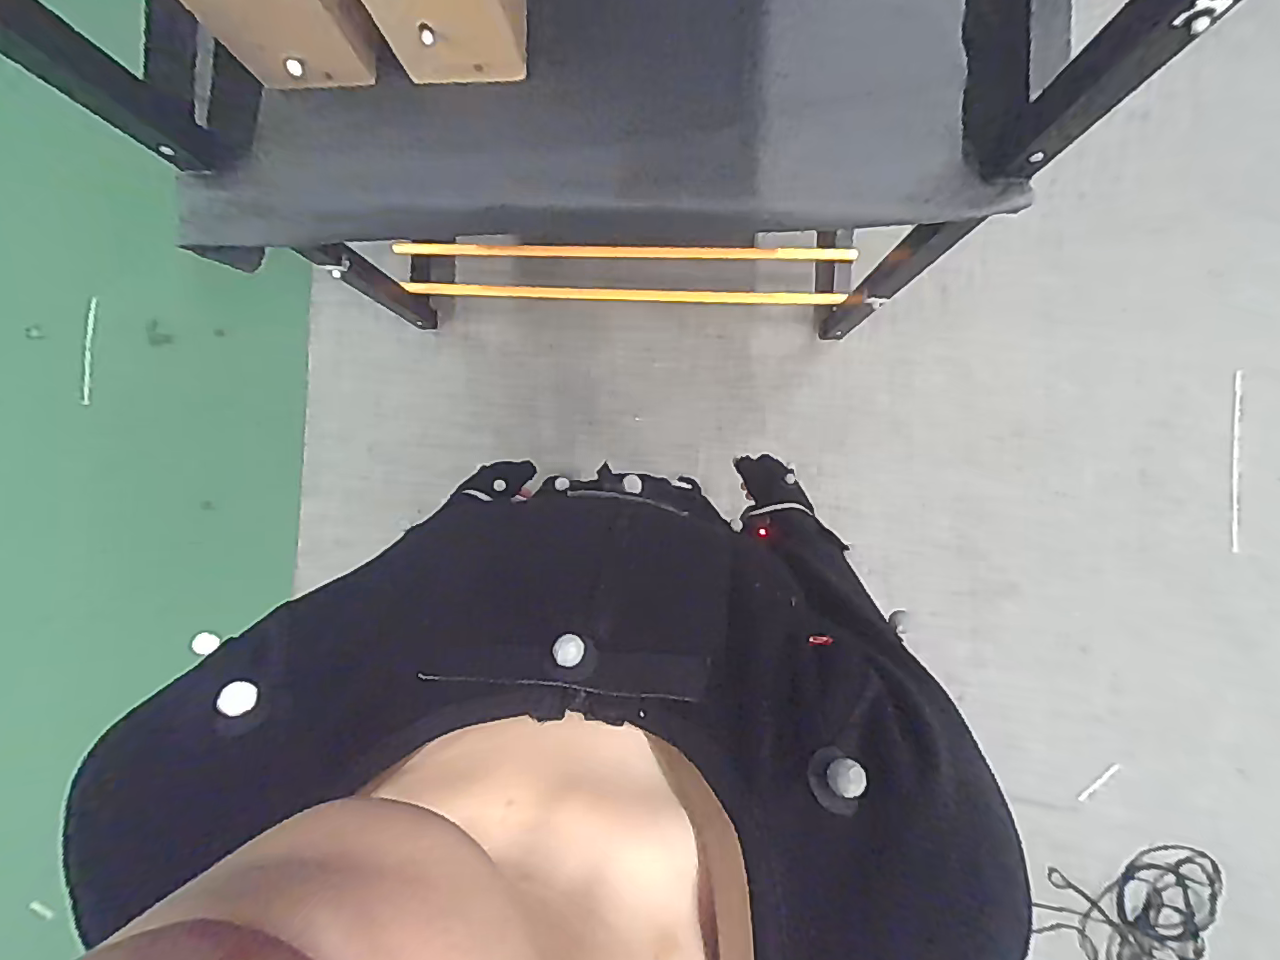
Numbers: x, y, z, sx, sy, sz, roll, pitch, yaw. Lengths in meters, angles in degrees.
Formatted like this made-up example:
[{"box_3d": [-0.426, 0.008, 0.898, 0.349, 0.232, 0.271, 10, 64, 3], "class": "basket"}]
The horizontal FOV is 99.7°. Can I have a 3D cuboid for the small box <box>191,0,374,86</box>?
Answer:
[{"box_3d": [-0.467, -0.658, 0.702, 0.168, 0.176, 0.179, 0, 90, 3], "class": "small box"}]
